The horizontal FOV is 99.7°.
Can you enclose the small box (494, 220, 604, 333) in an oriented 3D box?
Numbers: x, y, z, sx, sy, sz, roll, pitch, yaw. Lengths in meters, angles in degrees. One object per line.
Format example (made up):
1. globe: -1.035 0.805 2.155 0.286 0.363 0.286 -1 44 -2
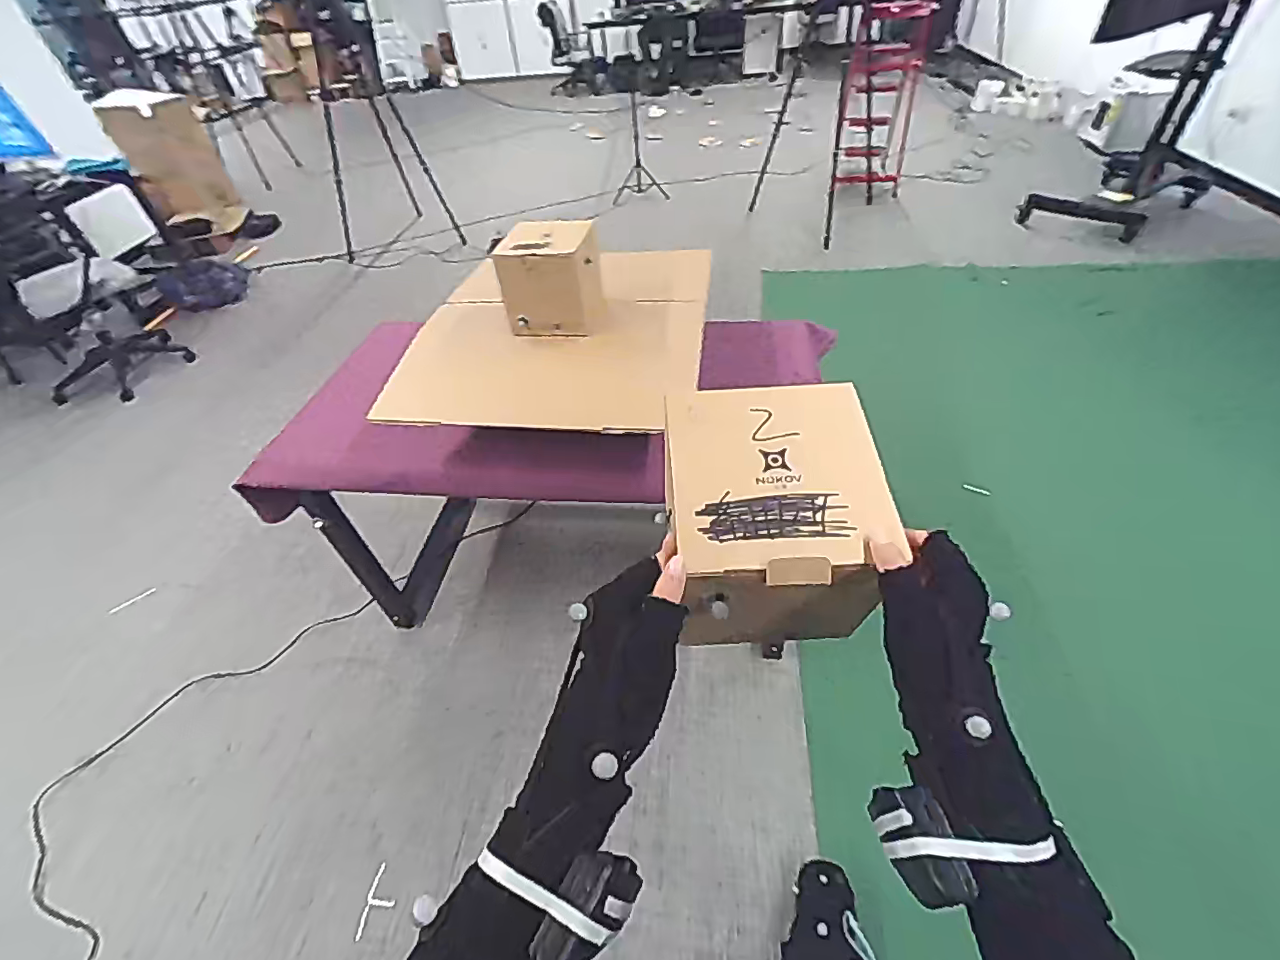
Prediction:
1. small box: -0.175 -0.416 1.113 0.168 0.176 0.179 3 44 10
